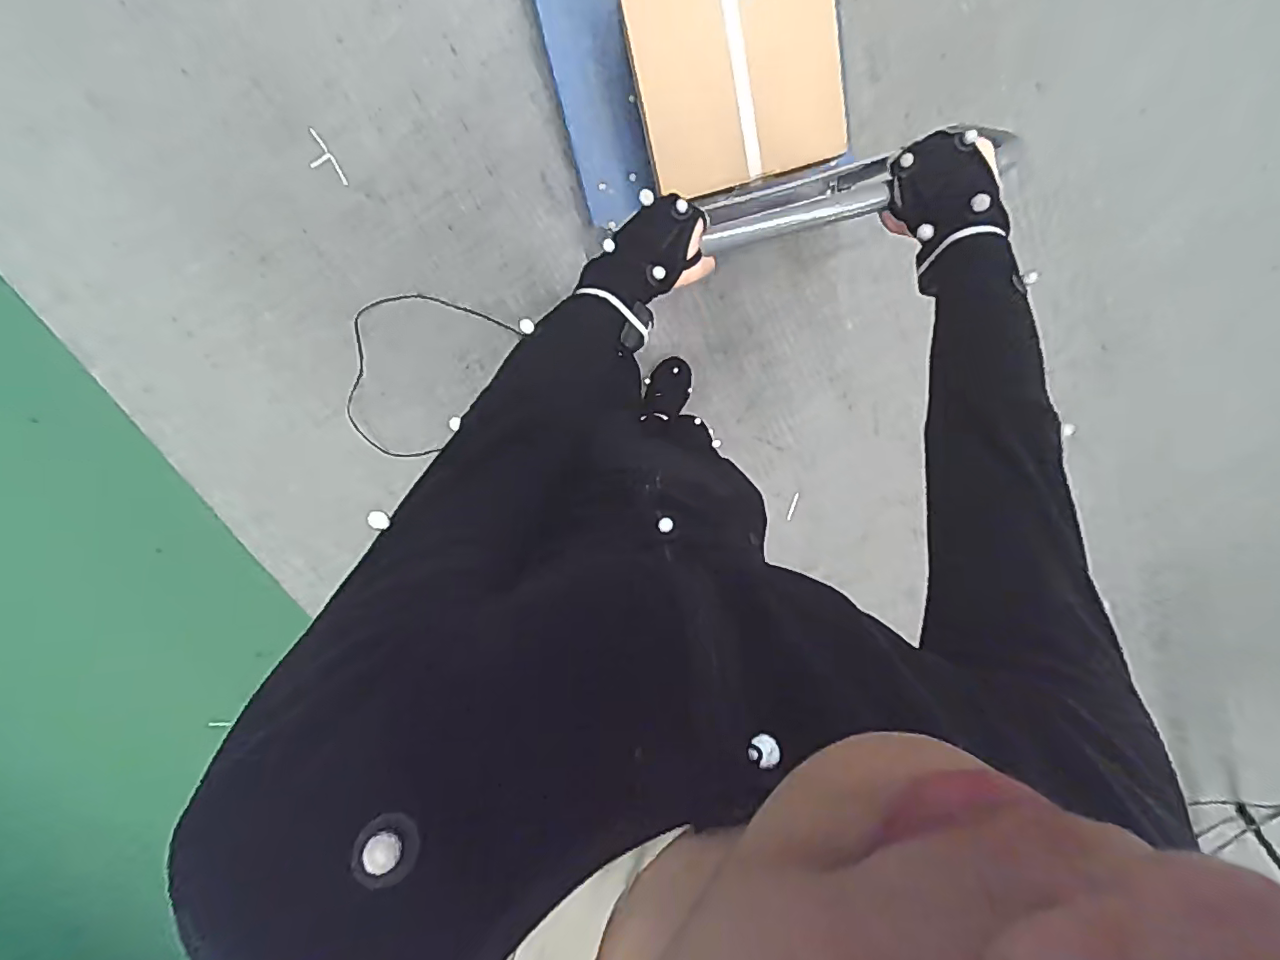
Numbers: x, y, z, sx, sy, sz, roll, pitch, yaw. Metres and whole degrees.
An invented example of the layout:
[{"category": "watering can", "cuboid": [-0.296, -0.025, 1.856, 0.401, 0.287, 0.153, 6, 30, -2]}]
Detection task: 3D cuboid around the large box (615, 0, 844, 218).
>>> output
[{"category": "large box", "cuboid": [0.144, -0.739, 0.977, 0.320, 0.320, 0.408, -13, 111, 6]}]
